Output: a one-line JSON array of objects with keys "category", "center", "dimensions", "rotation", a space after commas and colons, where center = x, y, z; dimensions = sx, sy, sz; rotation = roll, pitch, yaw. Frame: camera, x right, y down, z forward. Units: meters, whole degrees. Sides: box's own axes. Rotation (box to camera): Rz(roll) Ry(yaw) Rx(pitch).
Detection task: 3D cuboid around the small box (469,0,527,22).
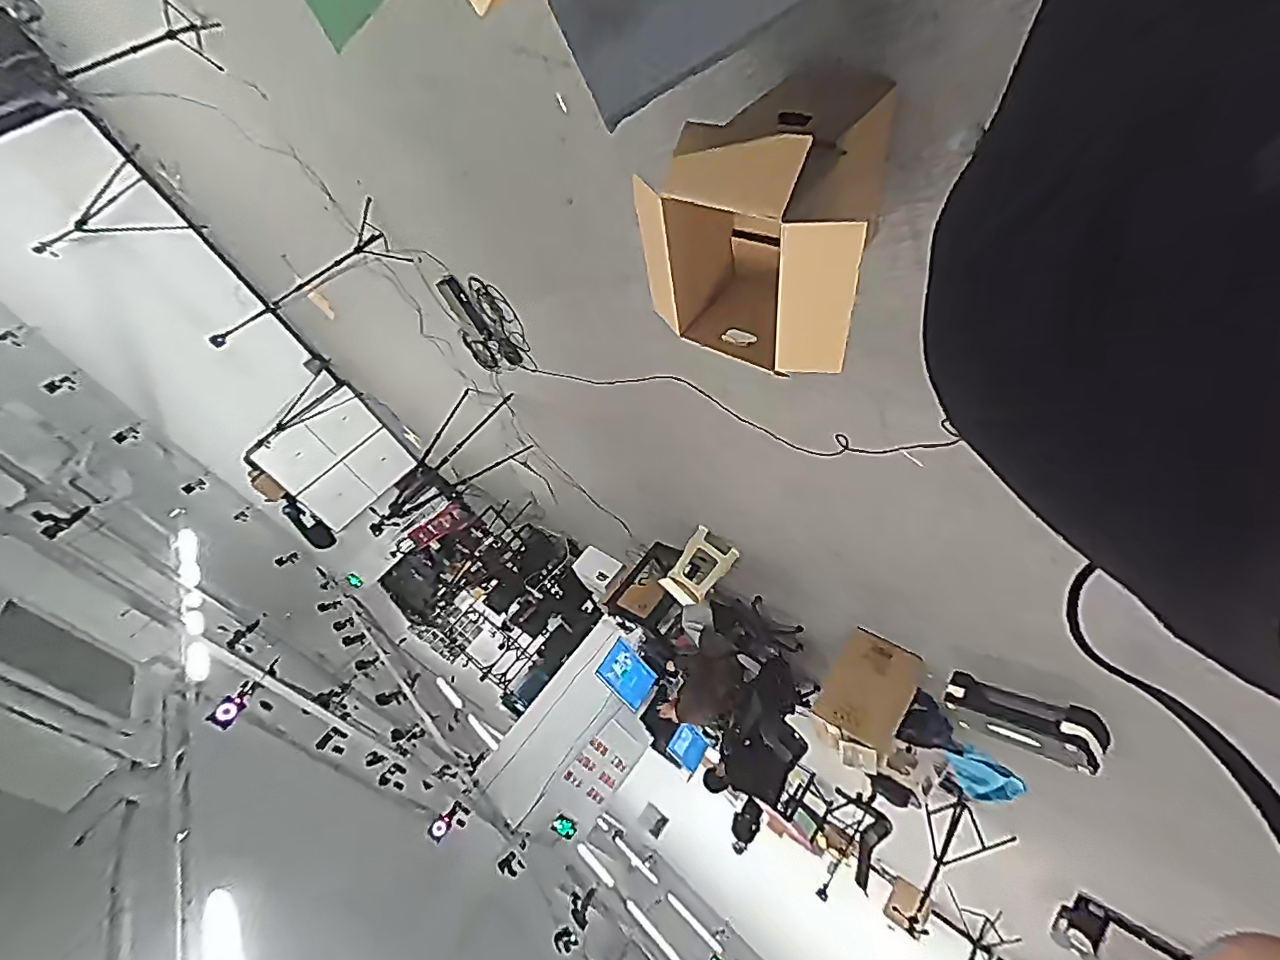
[{"category": "small box", "center": [-0.179, -0.799, 0.746], "dimensions": [0.179, 0.176, 0.168], "rotation": [8, 139, 52]}]
